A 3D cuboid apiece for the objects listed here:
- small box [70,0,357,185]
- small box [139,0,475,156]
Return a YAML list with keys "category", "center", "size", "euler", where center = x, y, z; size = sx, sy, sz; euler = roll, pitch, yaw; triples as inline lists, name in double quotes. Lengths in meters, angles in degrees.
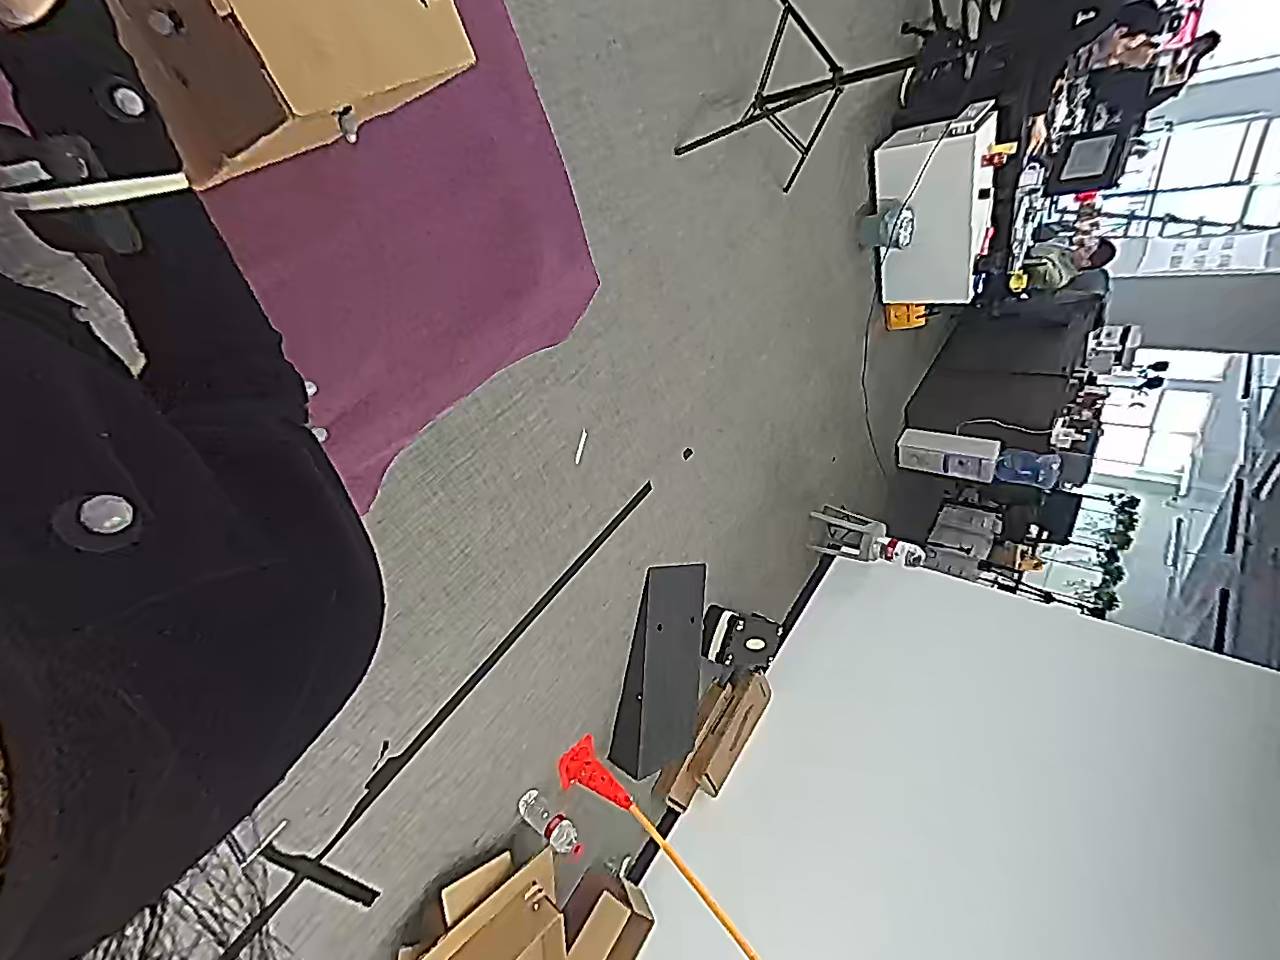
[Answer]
- category: "small box"
  center: [-0.400, -0.413, 0.531]
  size: [0.179, 0.176, 0.168]
  euler: [-47, 133, -30]
- category: "small box"
  center: [-0.275, -0.383, 0.429]
  size: [0.179, 0.176, 0.168]
  euler: [-46, 132, -30]
